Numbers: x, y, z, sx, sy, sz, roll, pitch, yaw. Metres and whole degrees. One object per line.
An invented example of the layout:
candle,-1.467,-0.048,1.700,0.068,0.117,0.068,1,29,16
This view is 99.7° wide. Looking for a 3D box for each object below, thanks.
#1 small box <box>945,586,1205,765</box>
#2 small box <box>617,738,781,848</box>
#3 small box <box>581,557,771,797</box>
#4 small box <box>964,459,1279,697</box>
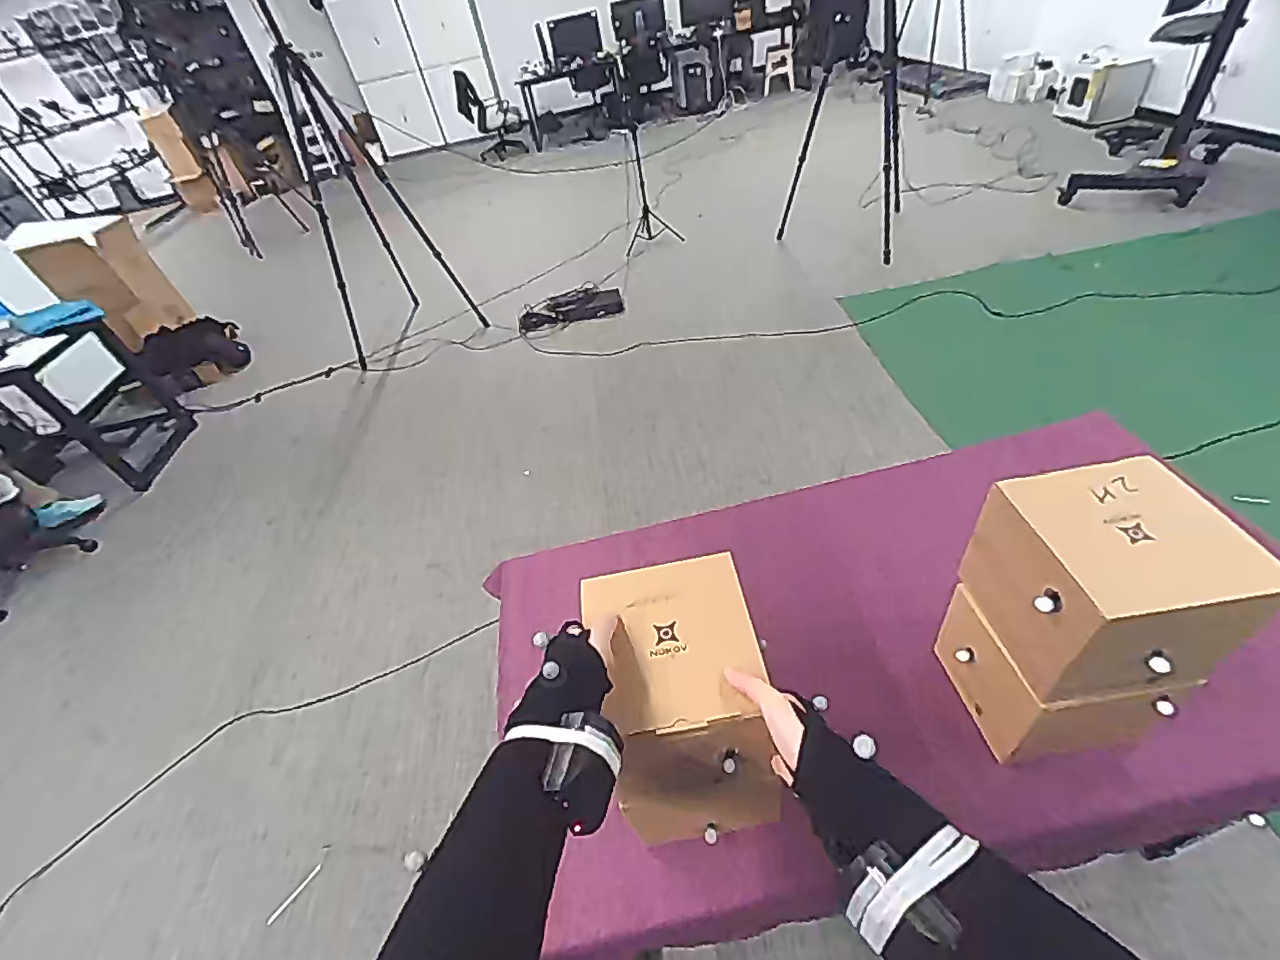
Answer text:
small box,0.506,0.230,0.670,0.179,0.176,0.168,-11,42,2
small box,0.066,0.333,0.676,0.179,0.176,0.168,-12,42,1
small box,0.038,0.212,0.569,0.168,0.176,0.179,-11,42,2
small box,0.476,0.107,0.564,0.168,0.176,0.179,-10,42,4
